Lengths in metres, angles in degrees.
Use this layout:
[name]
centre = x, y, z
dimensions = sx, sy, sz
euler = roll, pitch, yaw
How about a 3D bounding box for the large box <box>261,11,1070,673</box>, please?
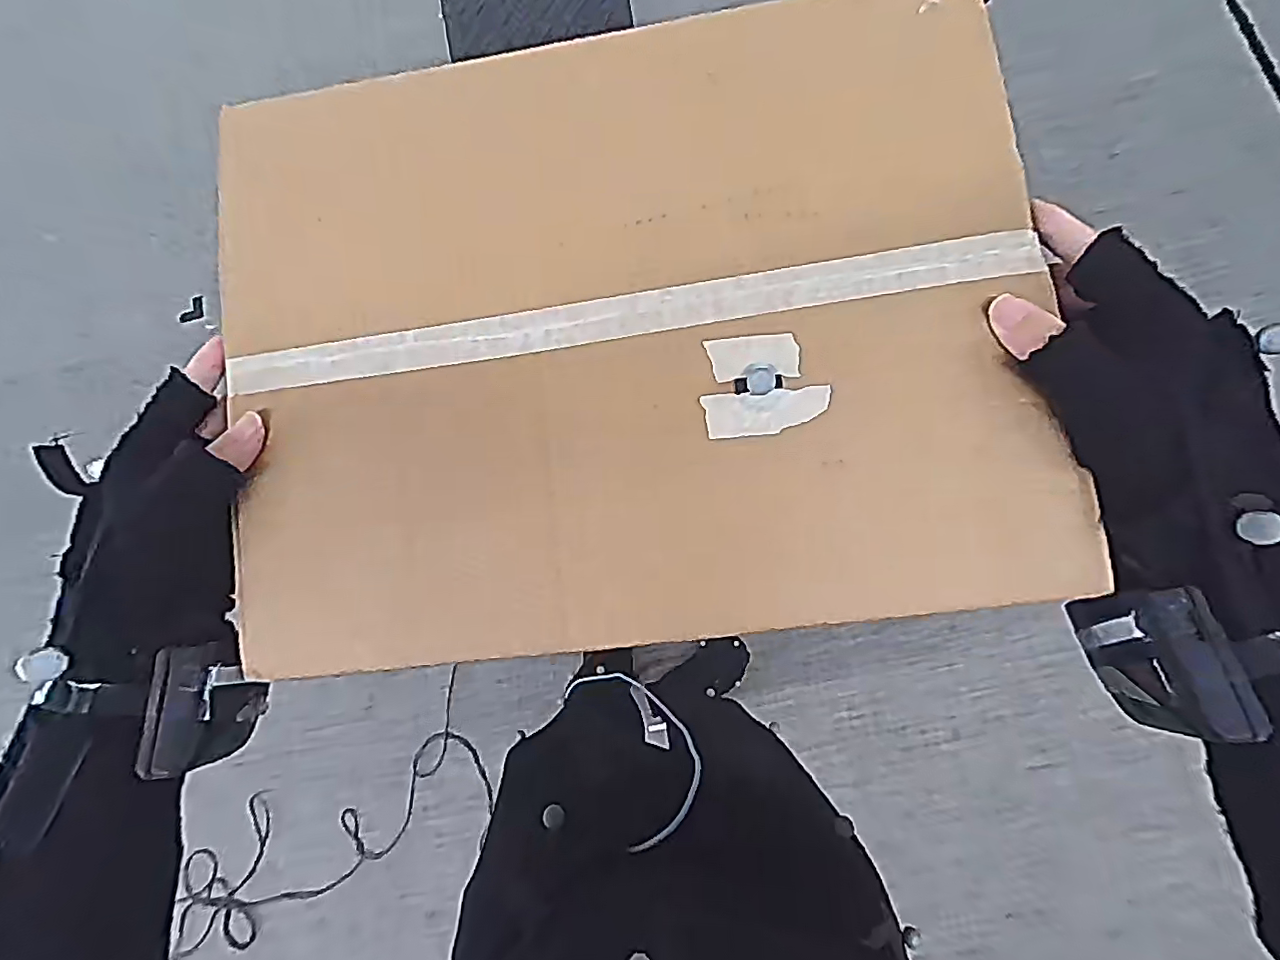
[large box]
centre = 0.001, -0.060, 0.434
dimensions = 0.408, 0.320, 0.320
euler = -7, 84, 4
